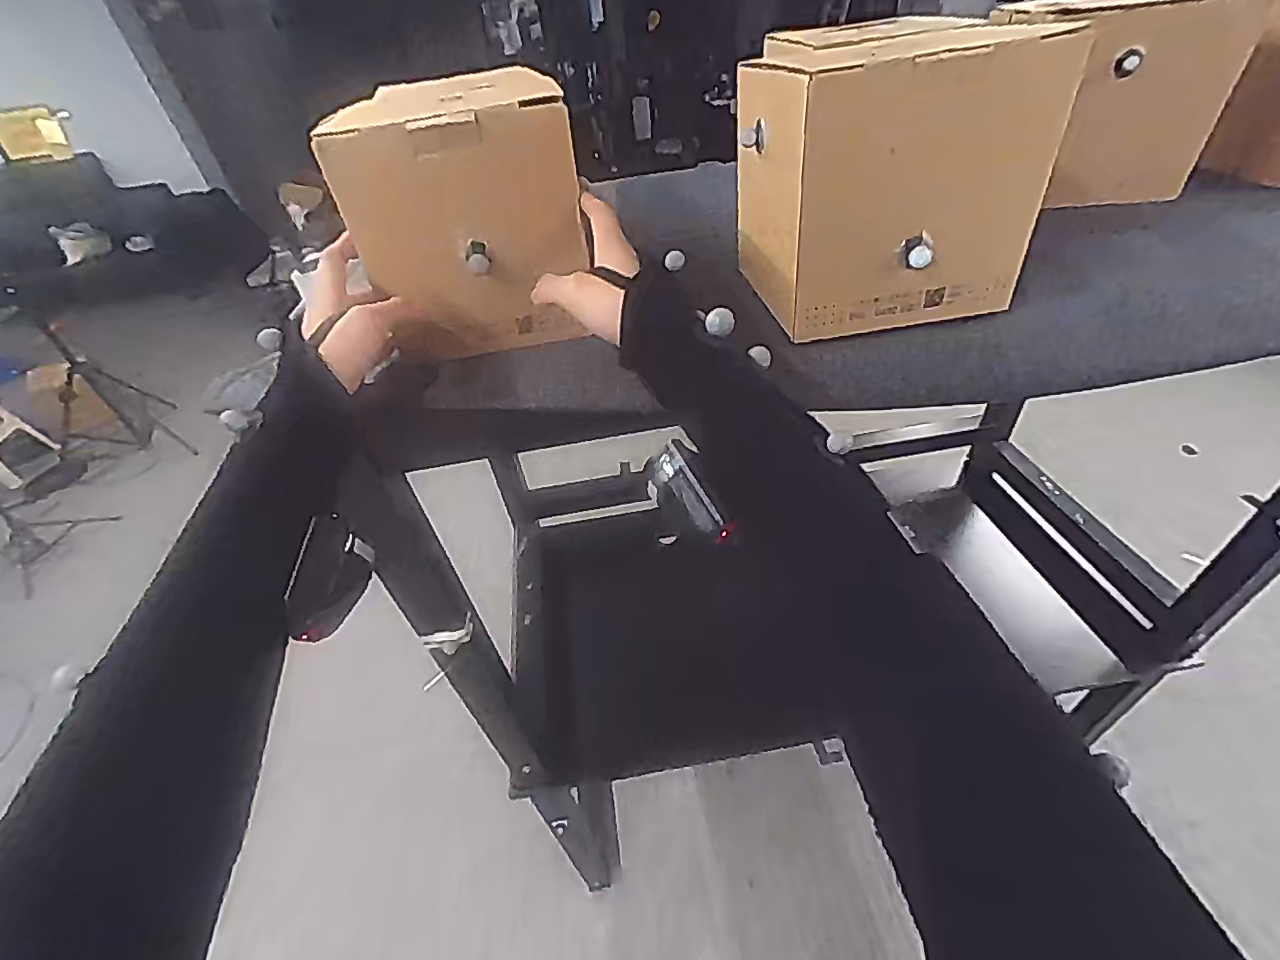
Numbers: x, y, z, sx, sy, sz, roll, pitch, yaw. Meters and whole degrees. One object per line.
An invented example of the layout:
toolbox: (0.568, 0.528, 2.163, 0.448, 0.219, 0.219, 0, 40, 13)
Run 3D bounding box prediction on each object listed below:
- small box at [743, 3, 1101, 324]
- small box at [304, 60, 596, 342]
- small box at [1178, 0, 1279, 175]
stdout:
small box: (0.176, -0.237, 0.413, 0.168, 0.176, 0.179, -9, 39, 1)
small box: (-0.136, -0.228, 0.452, 0.168, 0.176, 0.179, -11, 42, -5)
small box: (0.719, -0.417, 0.539, 0.168, 0.176, 0.179, -7, 41, 2)
